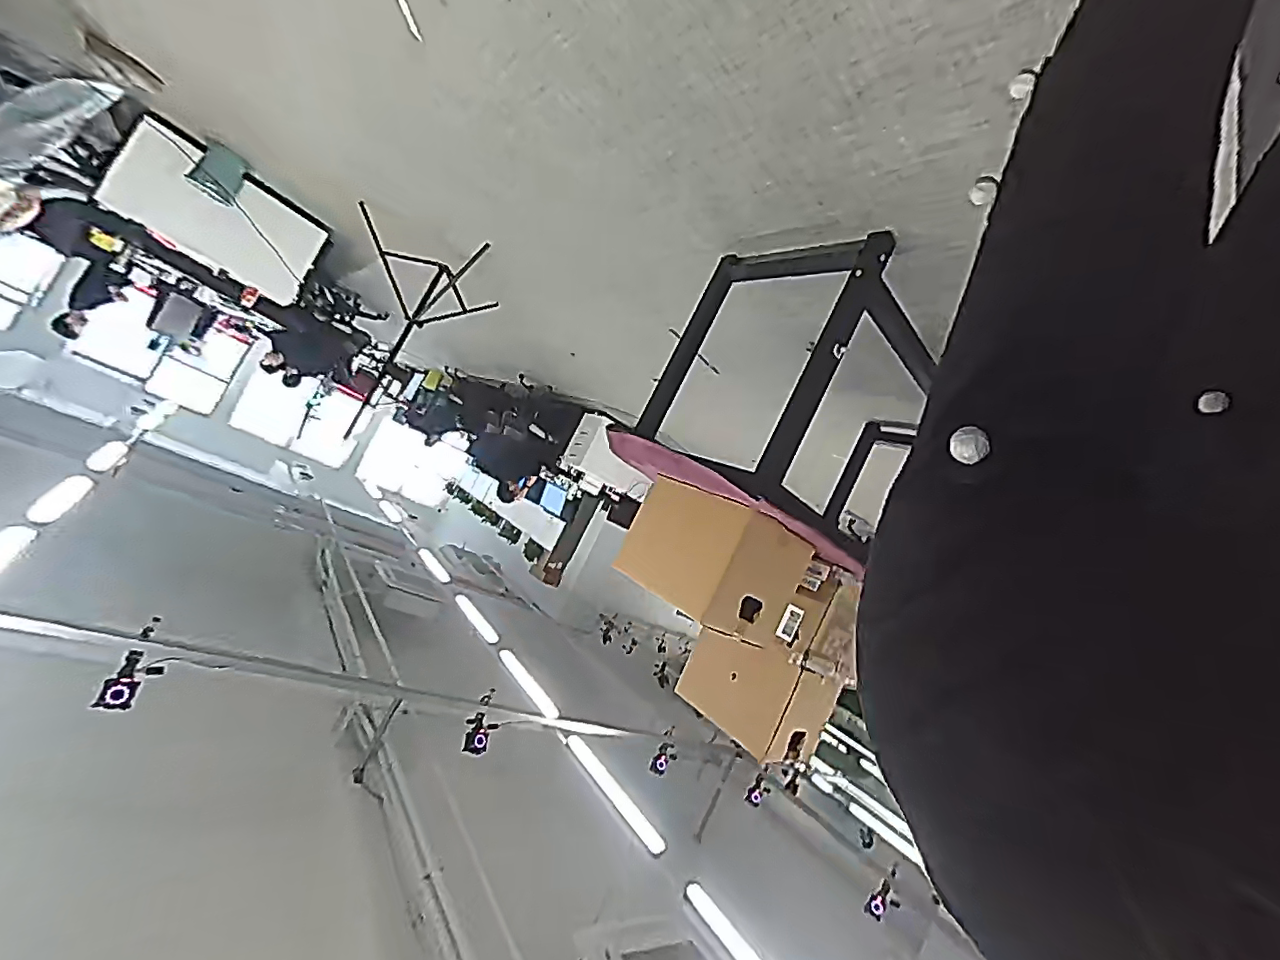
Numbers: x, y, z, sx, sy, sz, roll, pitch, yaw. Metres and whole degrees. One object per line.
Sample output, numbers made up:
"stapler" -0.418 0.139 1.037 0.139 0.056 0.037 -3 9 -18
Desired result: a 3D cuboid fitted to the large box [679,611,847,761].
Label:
"large box" 0.413 0.691 1.846 0.320 0.320 0.408 26 176 -39
